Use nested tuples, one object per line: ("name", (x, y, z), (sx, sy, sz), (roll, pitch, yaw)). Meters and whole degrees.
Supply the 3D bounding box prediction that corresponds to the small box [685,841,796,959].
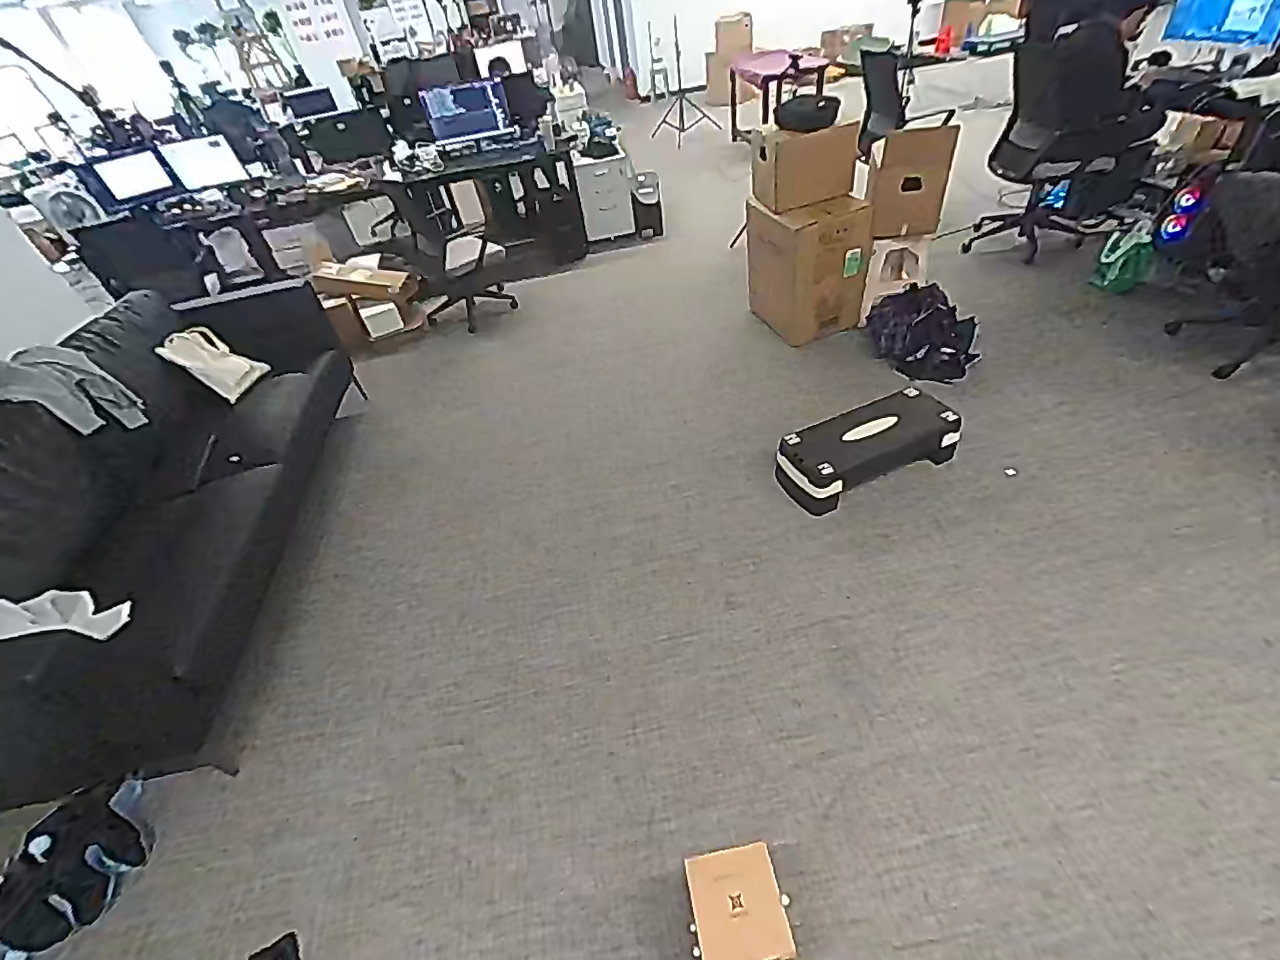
("small box", (0.191, 0.831, 1.038), (0.168, 0.176, 0.179), (-12, 41, -1))
